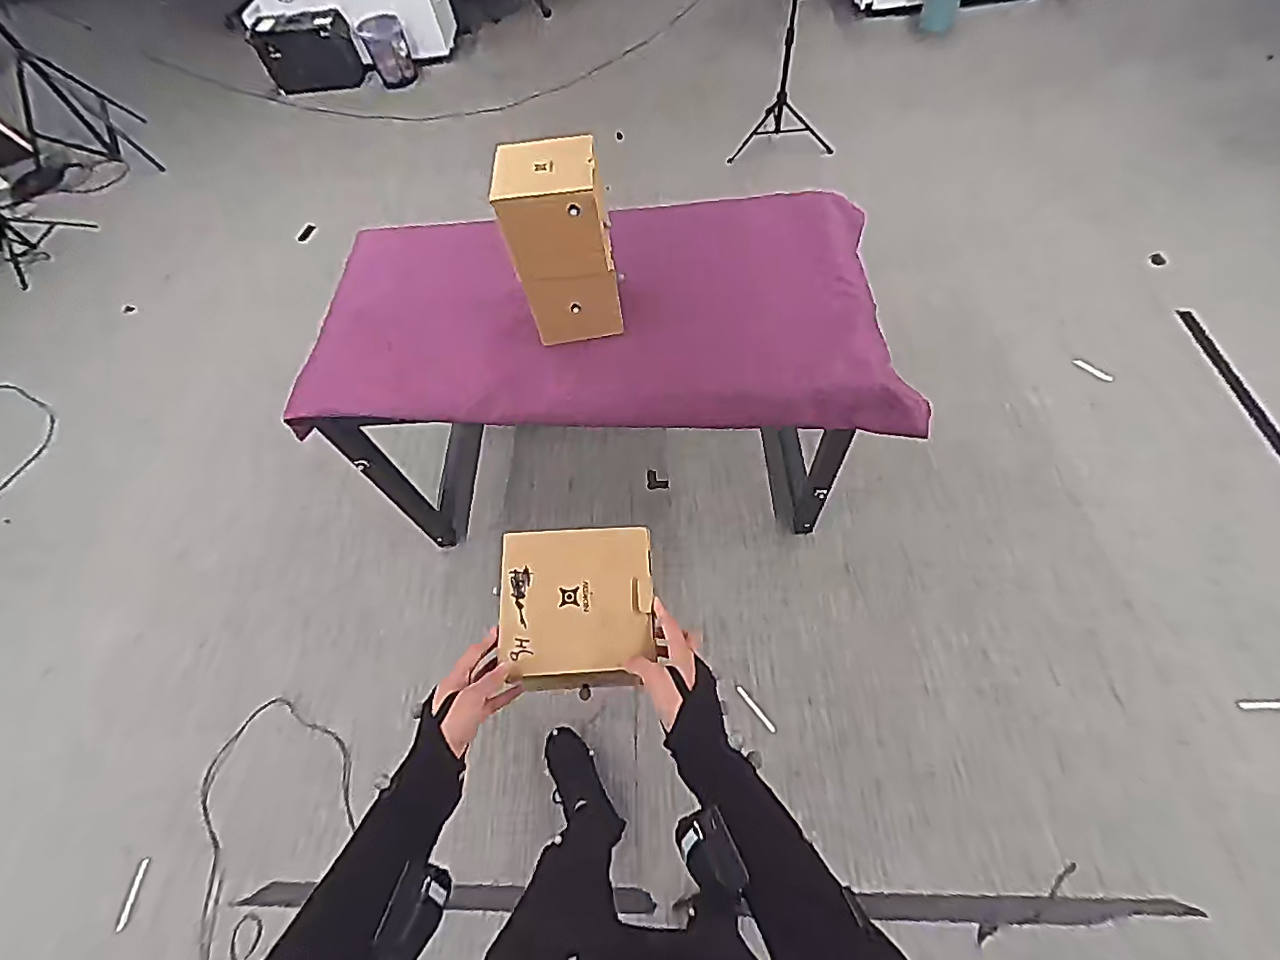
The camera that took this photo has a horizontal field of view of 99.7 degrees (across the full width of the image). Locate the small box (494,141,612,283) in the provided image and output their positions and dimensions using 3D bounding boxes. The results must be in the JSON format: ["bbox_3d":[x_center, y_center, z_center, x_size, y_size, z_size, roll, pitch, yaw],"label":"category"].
[{"bbox_3d":[-0.149,-0.481,0.986,0.179,0.176,0.168,-5,59,2],"label":"small box"}]

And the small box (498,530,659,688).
[{"bbox_3d":[-0.073,0.169,0.689,0.179,0.176,0.168,-1,63,-3],"label":"small box"}]
